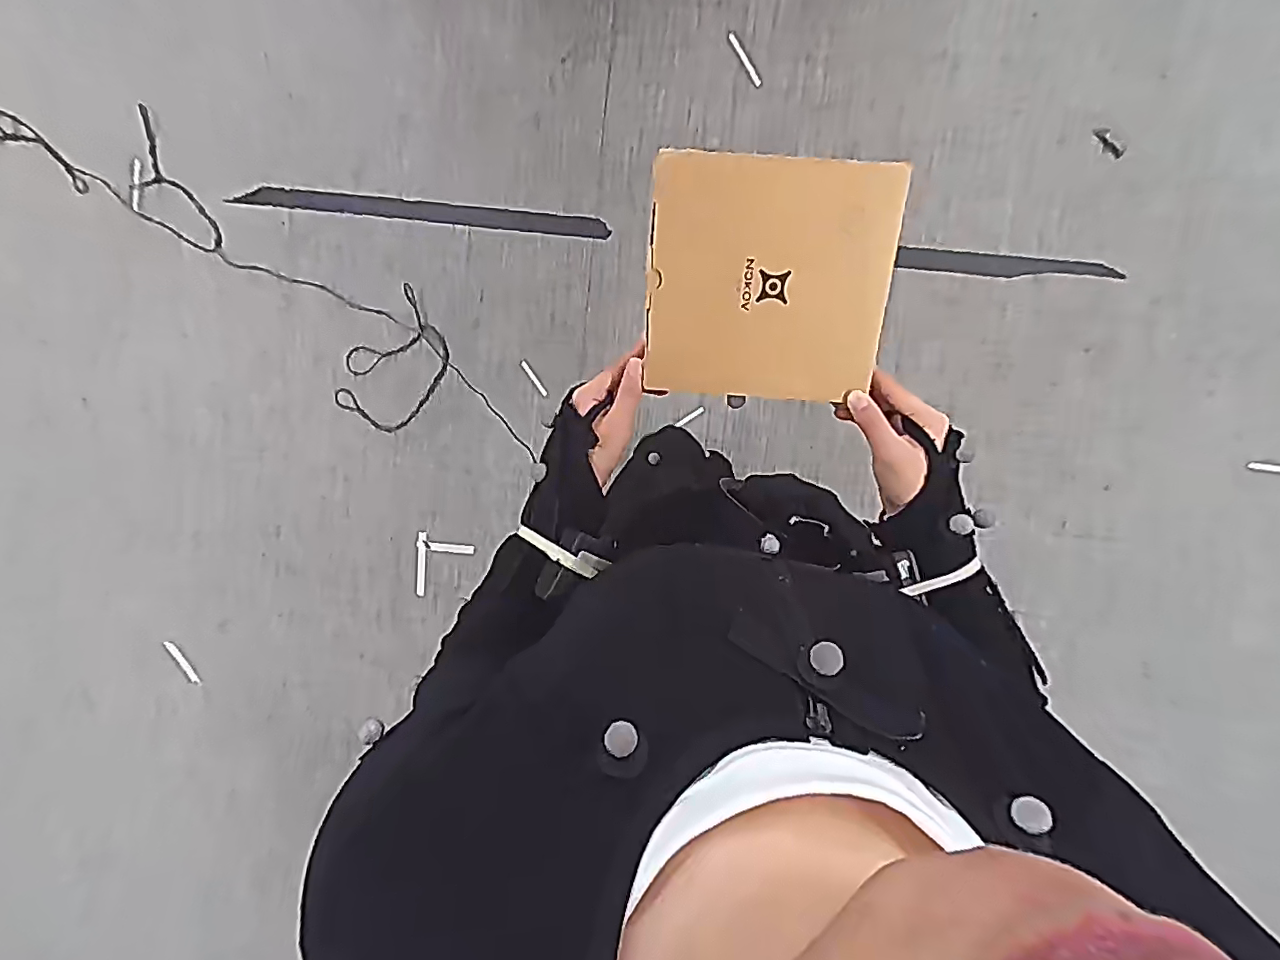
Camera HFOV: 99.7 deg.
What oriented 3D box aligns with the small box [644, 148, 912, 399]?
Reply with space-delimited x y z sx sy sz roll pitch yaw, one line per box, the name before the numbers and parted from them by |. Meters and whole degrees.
small box | 0.099 -0.173 0.471 0.179 0.176 0.168 5 109 3
